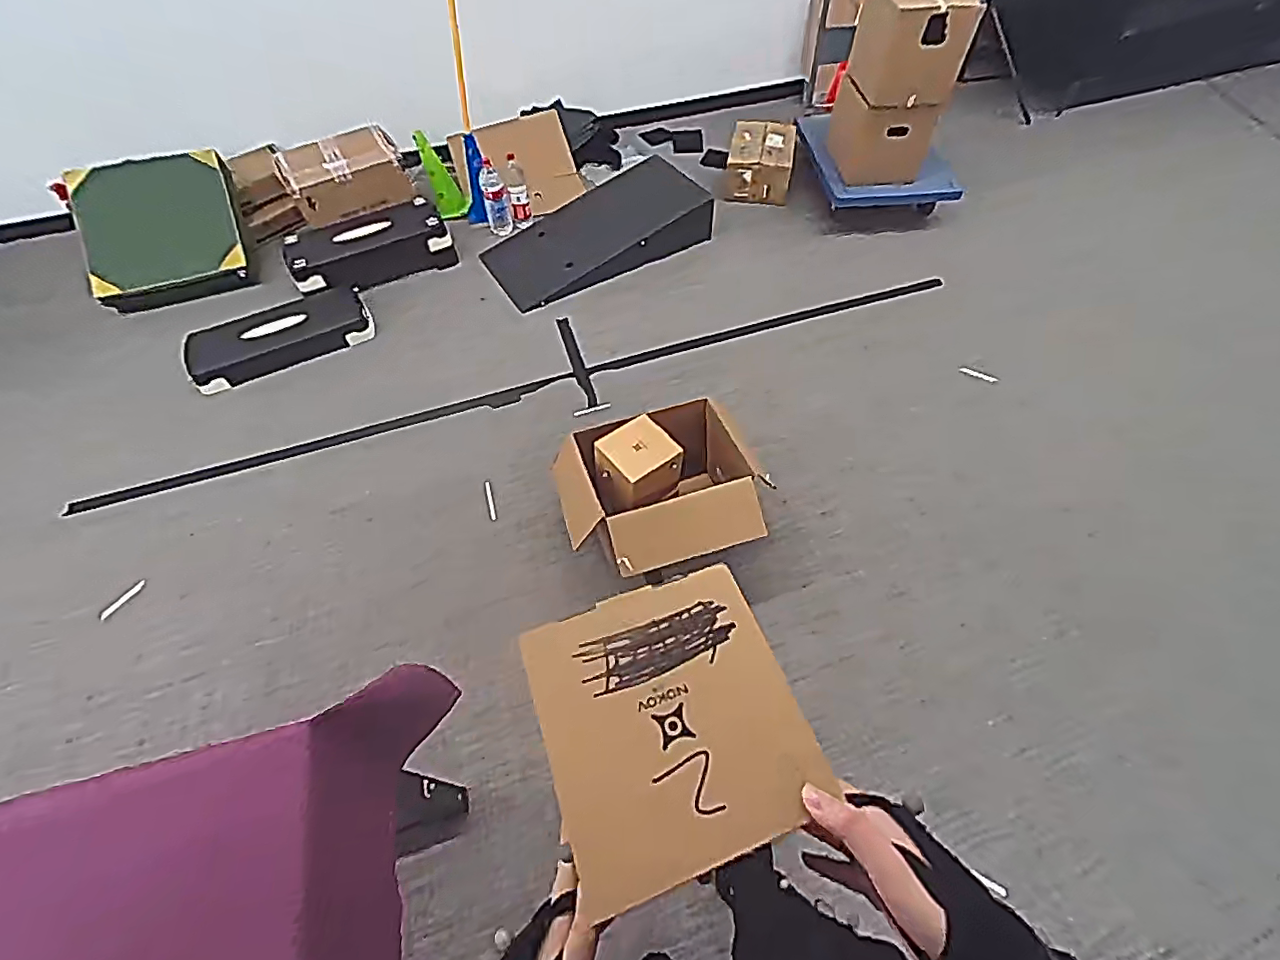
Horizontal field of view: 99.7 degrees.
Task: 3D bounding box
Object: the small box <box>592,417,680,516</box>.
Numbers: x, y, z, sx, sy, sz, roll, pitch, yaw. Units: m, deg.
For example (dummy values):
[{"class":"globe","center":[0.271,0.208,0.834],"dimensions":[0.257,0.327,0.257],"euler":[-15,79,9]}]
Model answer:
[{"class":"small box","center":[-0.011,-0.034,1.478],"dimensions":[0.179,0.176,0.168],"euler":[-33,62,-23]}]
